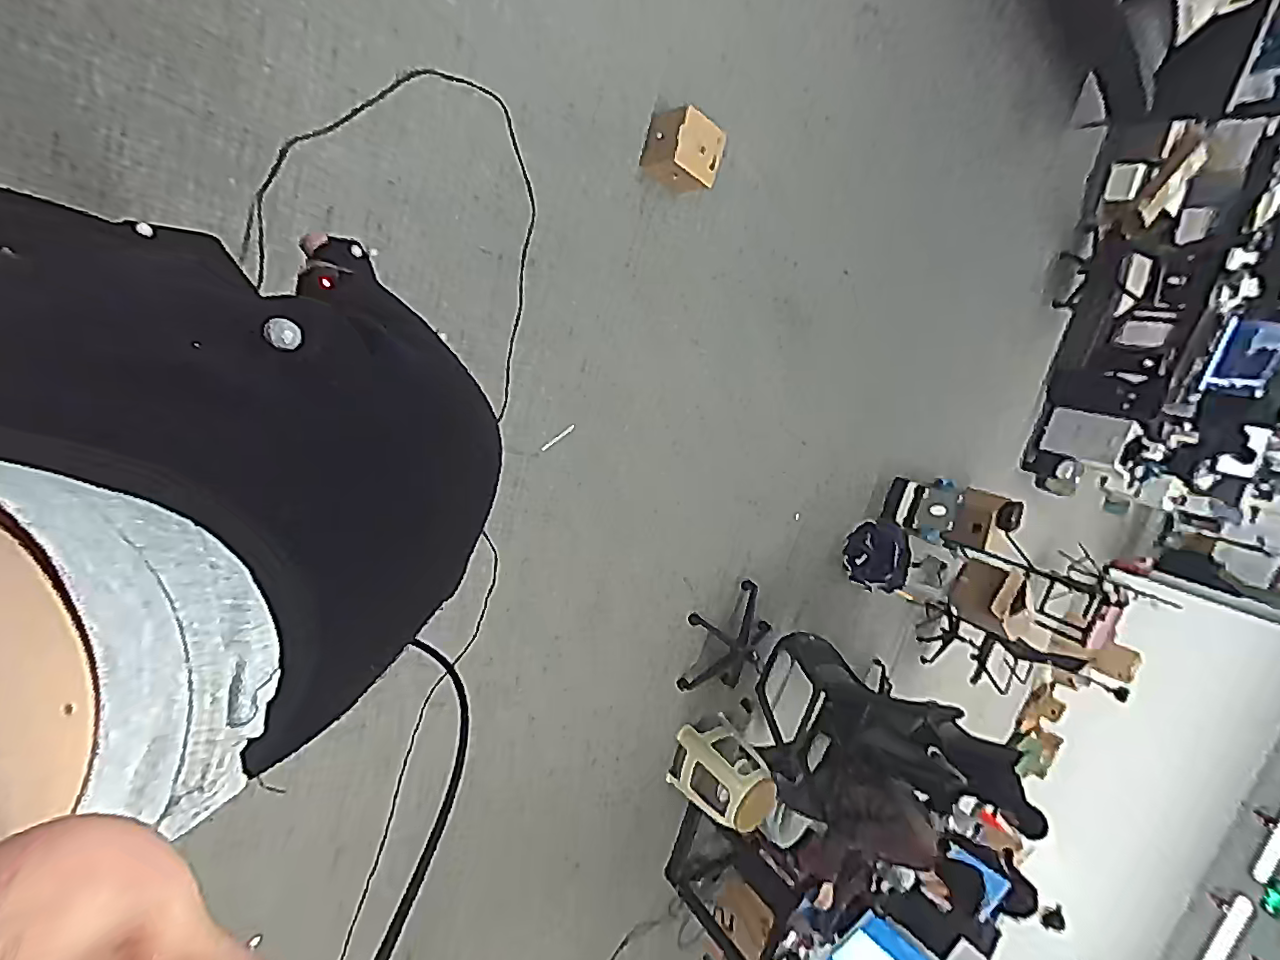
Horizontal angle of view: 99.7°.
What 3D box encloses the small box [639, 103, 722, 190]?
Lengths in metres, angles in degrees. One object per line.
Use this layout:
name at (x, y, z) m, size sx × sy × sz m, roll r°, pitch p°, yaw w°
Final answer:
small box at (0.124, -1.036, 1.701) m, size 0.179 × 0.176 × 0.168 m, roll 9°, pitch 101°, yaw -40°
